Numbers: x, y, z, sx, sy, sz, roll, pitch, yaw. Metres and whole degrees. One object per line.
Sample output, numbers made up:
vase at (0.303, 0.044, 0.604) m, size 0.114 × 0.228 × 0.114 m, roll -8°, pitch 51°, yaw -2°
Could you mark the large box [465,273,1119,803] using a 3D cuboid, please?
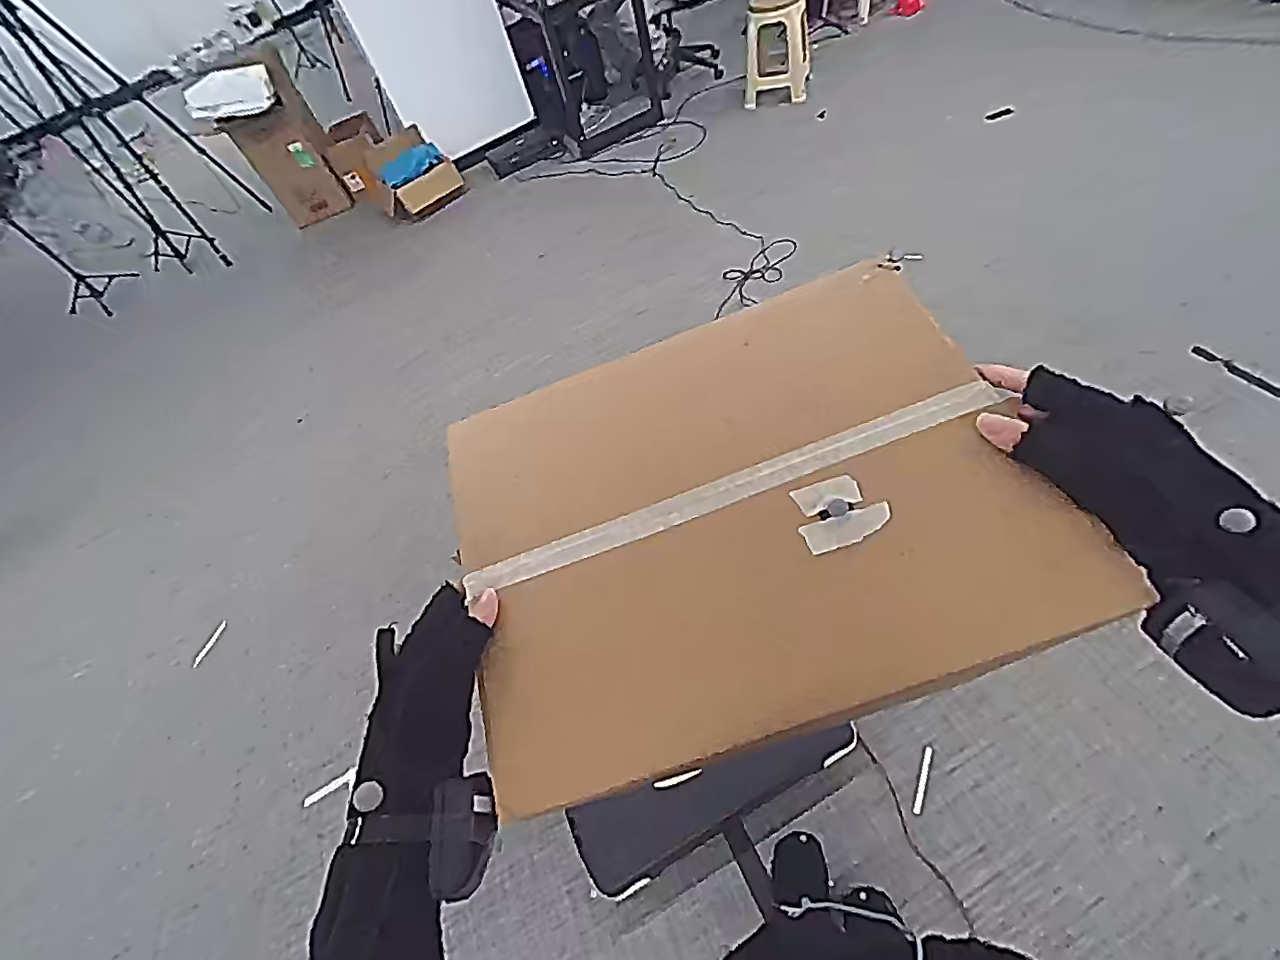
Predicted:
large box at (0.097, 0.080, 0.538) m, size 0.408 × 0.320 × 0.320 m, roll -21°, pitch 61°, yaw 3°
